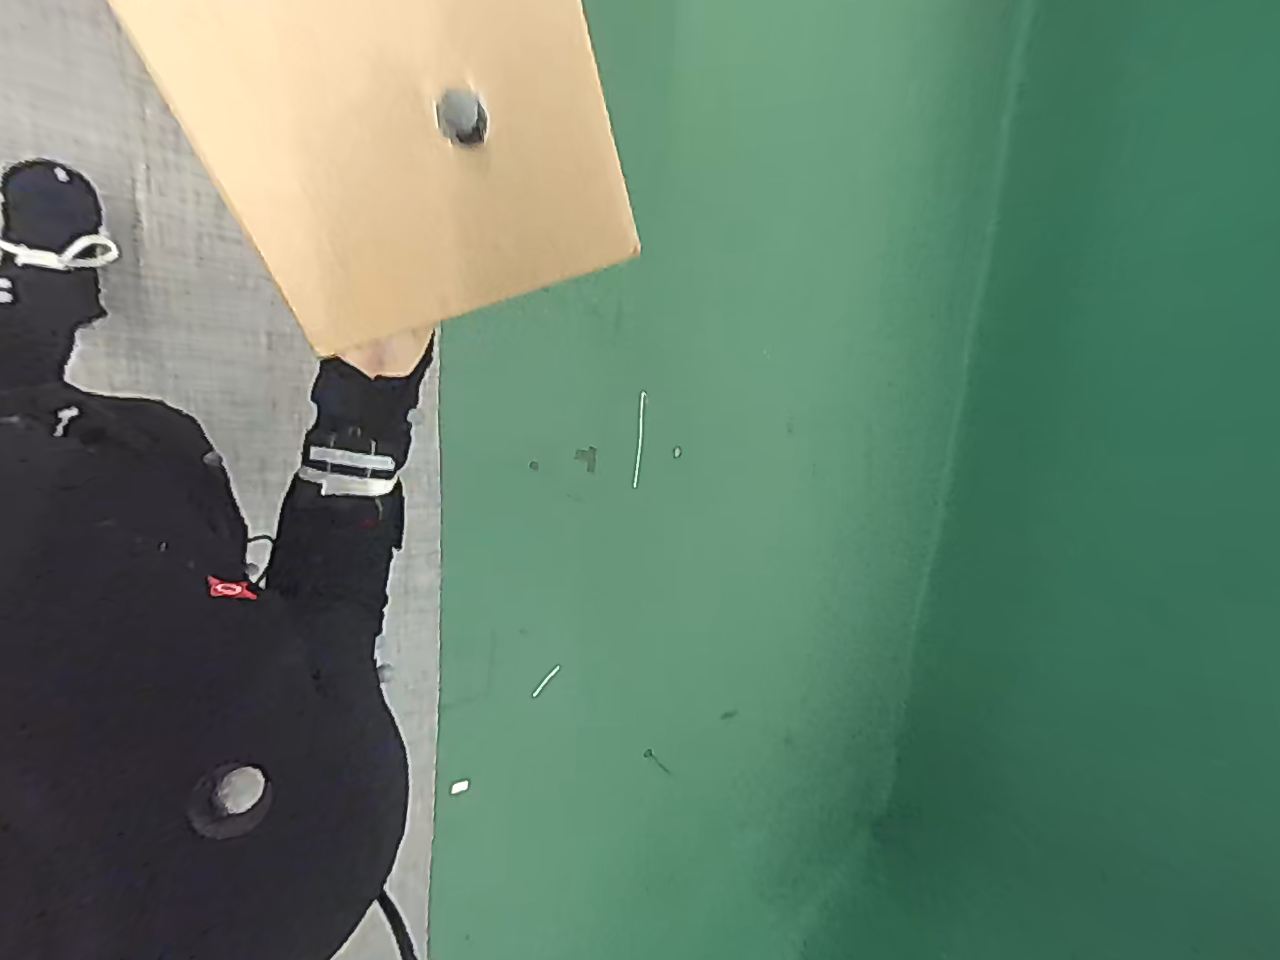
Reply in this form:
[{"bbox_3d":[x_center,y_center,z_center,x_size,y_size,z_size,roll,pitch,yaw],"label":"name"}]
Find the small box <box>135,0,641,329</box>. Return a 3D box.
[{"bbox_3d":[-0.114,-0.203,0.286,0.168,0.179,0.176,-19,120,-3],"label":"small box"}]
